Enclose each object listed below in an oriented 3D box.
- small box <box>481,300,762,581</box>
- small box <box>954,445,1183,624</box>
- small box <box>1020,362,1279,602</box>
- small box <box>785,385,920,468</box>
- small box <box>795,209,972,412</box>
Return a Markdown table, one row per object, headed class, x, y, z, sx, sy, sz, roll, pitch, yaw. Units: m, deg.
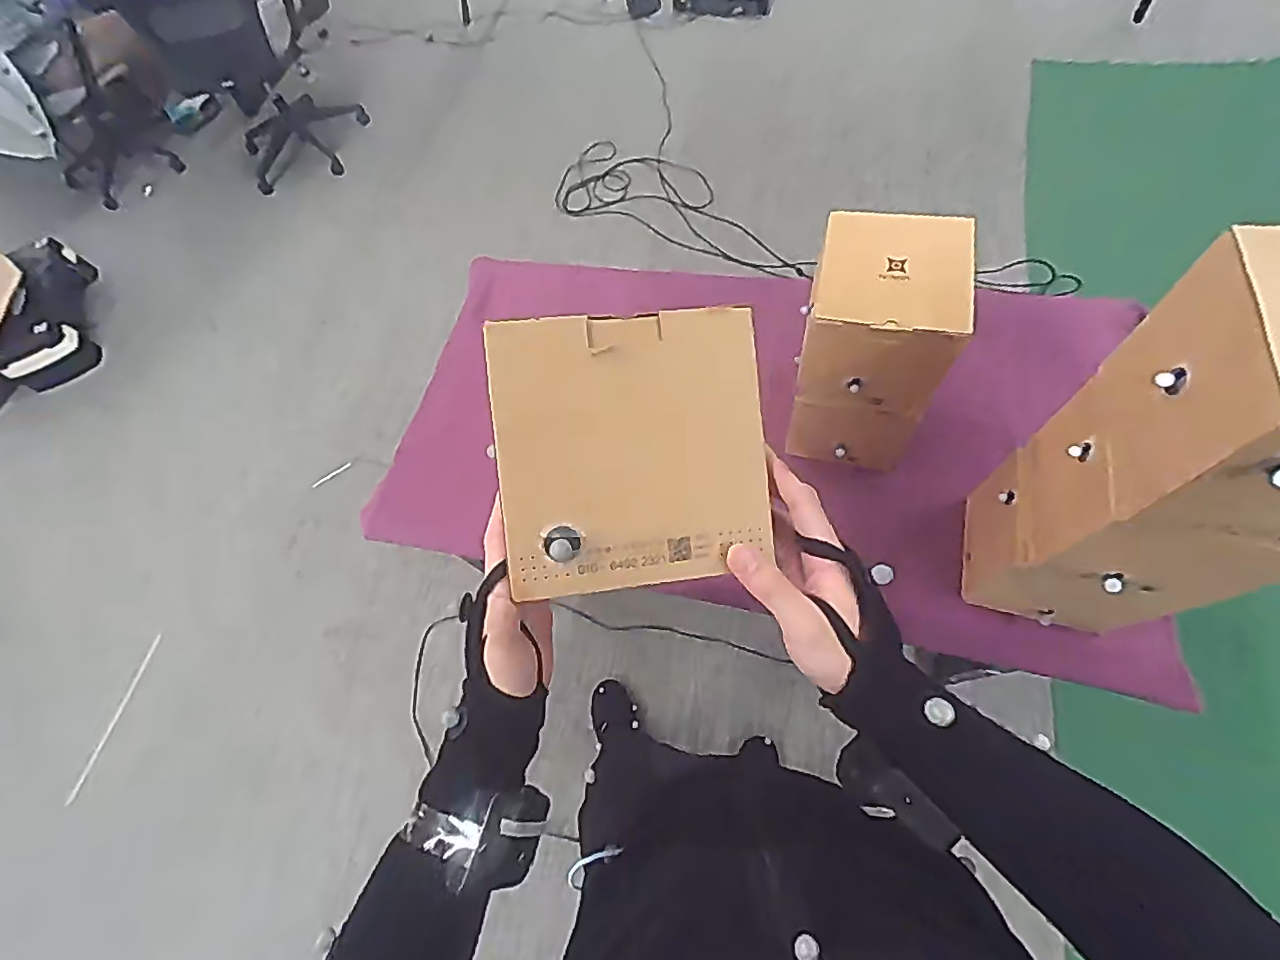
| class | x | y | z | sx | sy | sz | roll | pitch | yaw |
| --- | --- | --- | --- | --- | --- | --- | --- | --- | --- |
| small box | -0.016 | -0.023 | 0.410 | 0.168 | 0.179 | 0.176 | -5 | 92 | -8 |
| small box | 0.543 | 0.079 | 0.707 | 0.179 | 0.176 | 0.168 | 13 | 67 | 14 |
| small box | 0.524 | 0.007 | 0.561 | 0.168 | 0.176 | 0.179 | 12 | 67 | 15 |
| small box | 0.329 | -0.143 | 0.840 | 0.168 | 0.176 | 0.179 | 13 | 68 | 14 |
| small box | 0.301 | -0.212 | 0.696 | 0.168 | 0.176 | 0.179 | 10 | 69 | 12 |
